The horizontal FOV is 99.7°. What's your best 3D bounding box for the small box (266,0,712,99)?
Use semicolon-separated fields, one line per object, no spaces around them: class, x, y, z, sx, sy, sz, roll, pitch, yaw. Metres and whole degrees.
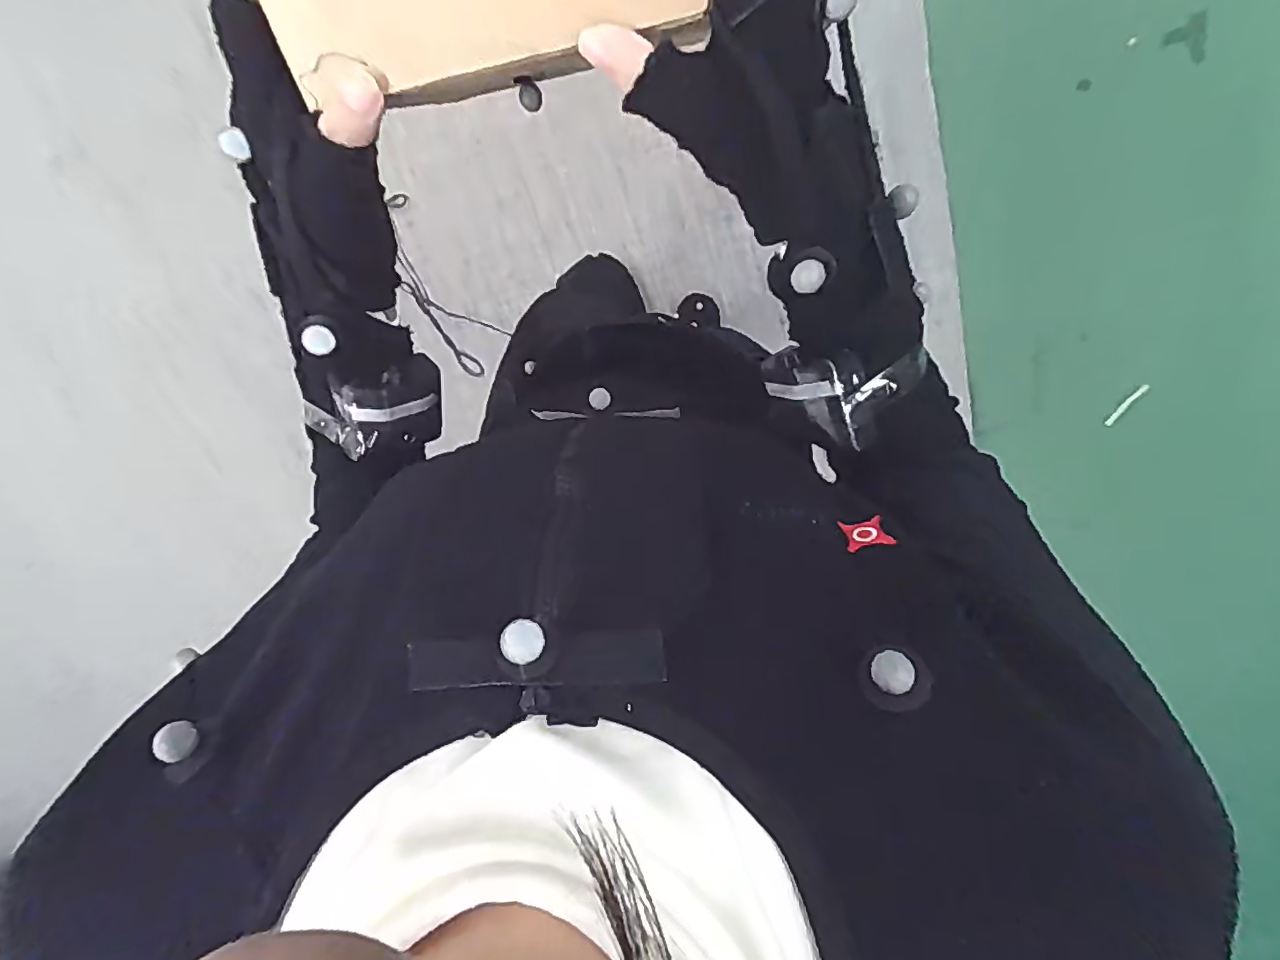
small box;-0.065;-0.283;0.233;0.179;0.176;0.168;-5;126;11
